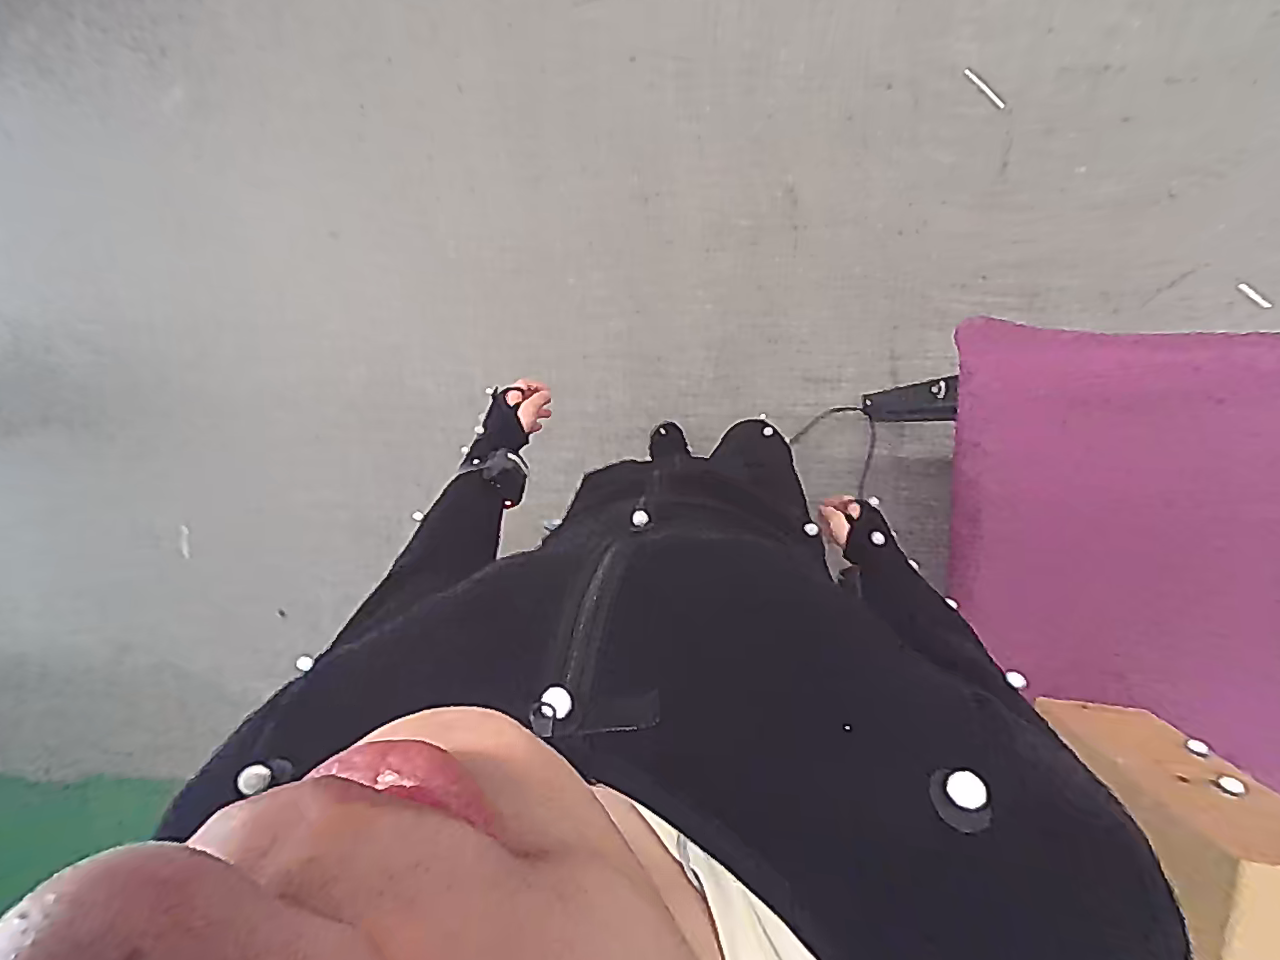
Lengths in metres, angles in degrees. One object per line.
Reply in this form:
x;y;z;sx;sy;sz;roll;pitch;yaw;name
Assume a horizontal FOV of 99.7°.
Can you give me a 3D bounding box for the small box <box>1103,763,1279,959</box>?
0.676;0.460;0.609;0.168;0.176;0.179;5;96;6;small box
